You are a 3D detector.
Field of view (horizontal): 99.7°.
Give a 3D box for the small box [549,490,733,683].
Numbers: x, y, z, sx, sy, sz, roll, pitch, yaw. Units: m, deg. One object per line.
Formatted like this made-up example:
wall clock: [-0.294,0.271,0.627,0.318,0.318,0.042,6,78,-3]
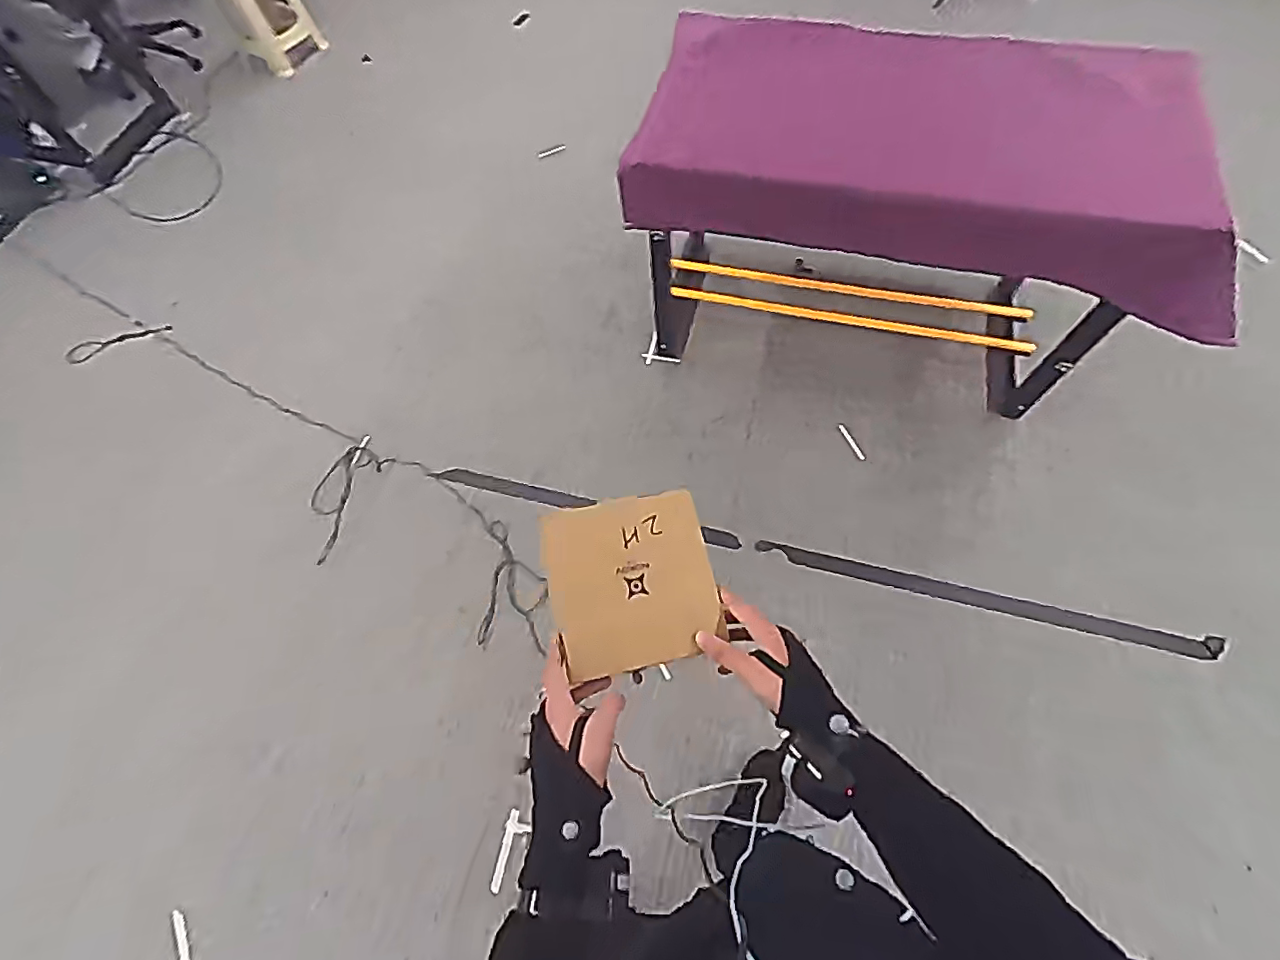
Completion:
small box: [-0.012,0.129,0.628,0.168,0.176,0.179,-8,71,-13]
